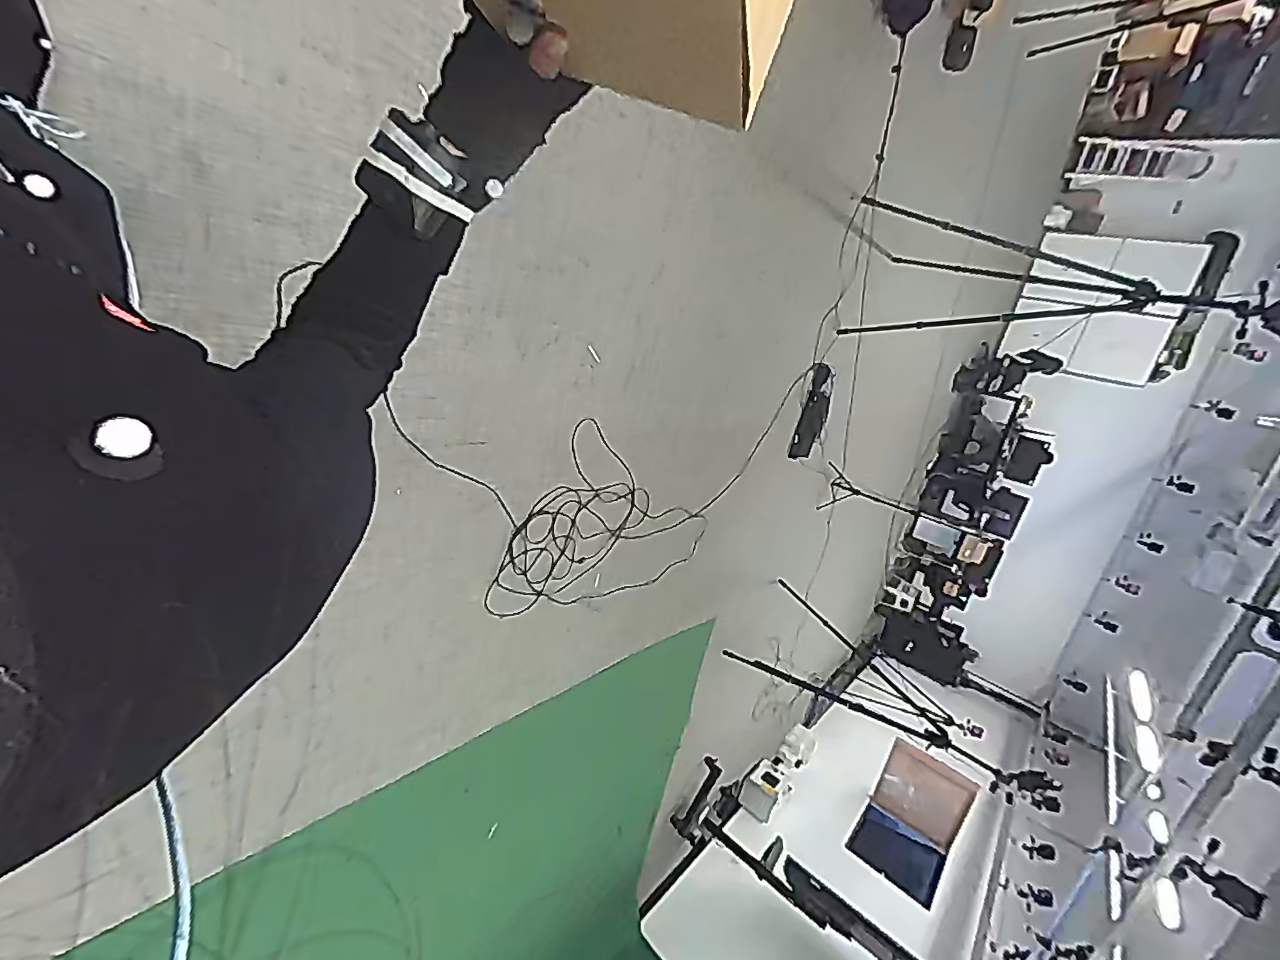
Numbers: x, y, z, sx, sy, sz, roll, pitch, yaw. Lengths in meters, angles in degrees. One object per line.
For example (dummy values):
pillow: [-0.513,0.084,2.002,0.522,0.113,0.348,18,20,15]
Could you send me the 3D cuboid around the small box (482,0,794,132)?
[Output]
small box: [0.008,-0.312,0.263,0.179,0.176,0.168,-58,169,-72]
